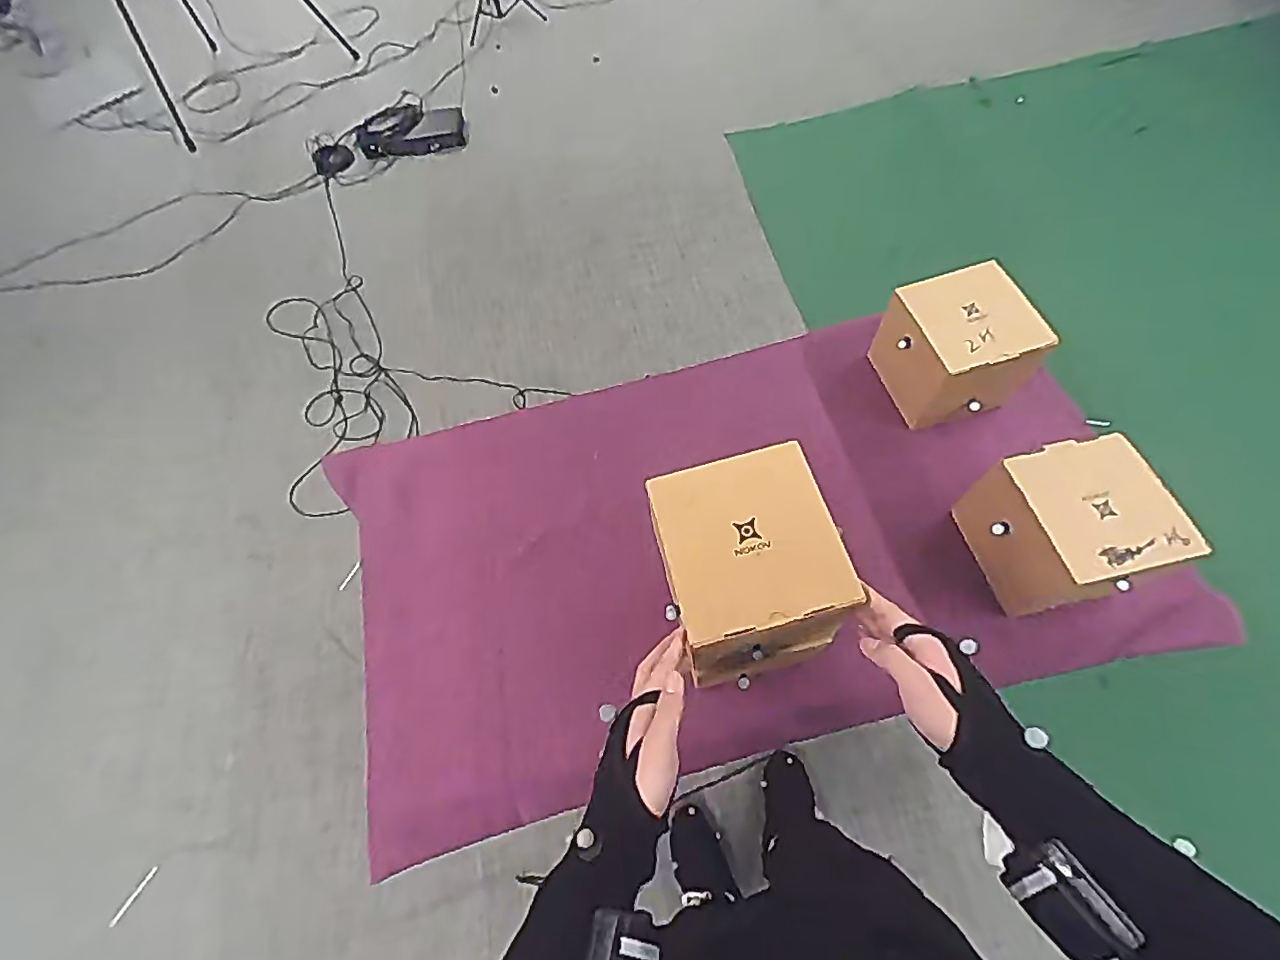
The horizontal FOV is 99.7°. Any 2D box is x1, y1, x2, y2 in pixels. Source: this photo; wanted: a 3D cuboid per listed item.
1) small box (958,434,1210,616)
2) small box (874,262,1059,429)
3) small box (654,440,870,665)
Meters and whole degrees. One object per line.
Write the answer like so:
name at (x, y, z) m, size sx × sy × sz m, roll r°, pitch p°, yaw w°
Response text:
small box at (0.576, 0.067, 0.737) m, size 0.168 × 0.176 × 0.179 m, roll -13°, pitch 61°, yaw 0°
small box at (0.508, -0.212, 0.878) m, size 0.168 × 0.176 × 0.179 m, roll -16°, pitch 64°, yaw 0°
small box at (0.117, 0.087, 0.592) m, size 0.168 × 0.176 × 0.179 m, roll -15°, pitch 64°, yaw -1°
